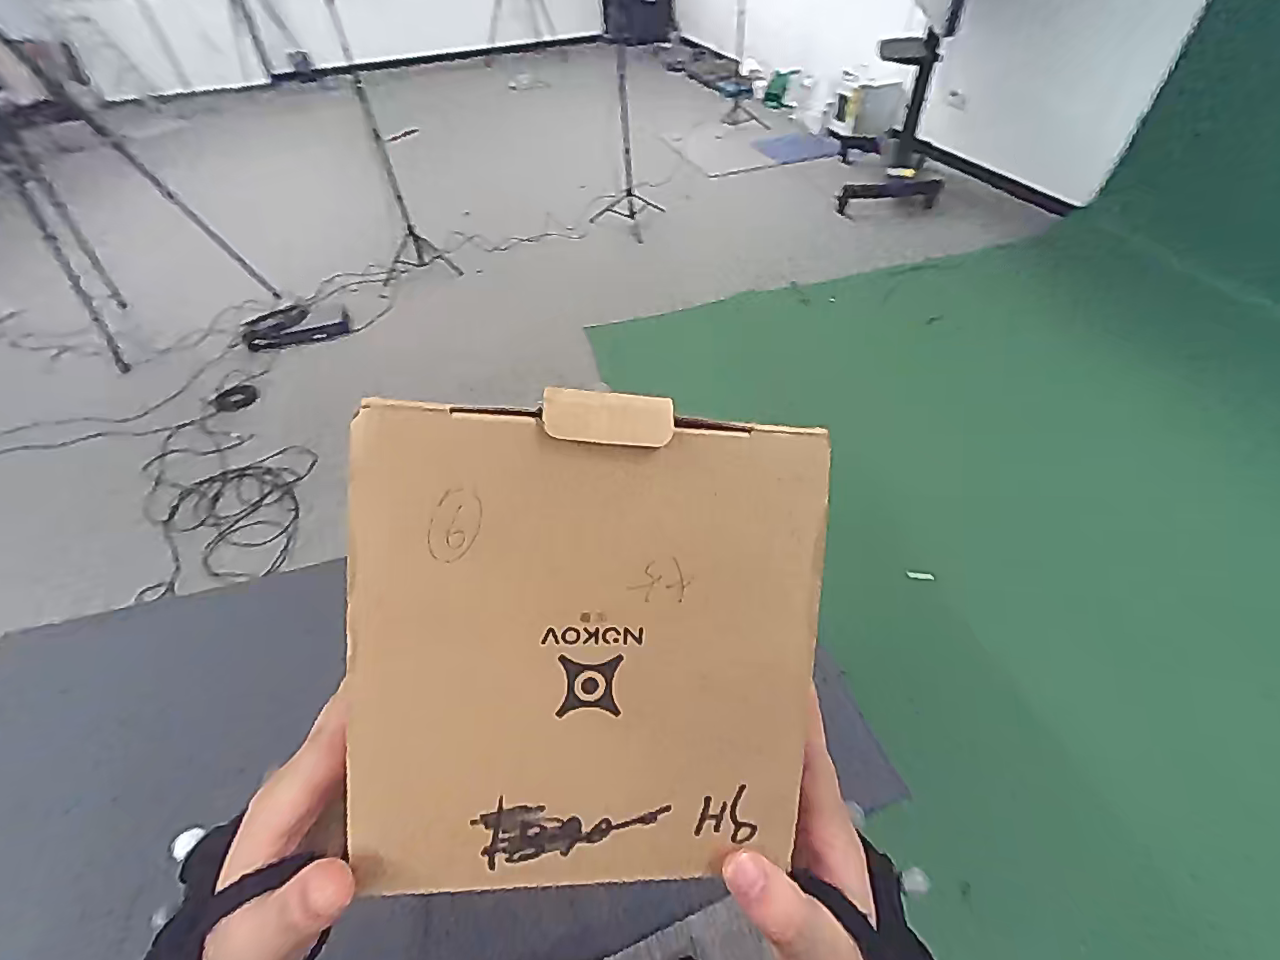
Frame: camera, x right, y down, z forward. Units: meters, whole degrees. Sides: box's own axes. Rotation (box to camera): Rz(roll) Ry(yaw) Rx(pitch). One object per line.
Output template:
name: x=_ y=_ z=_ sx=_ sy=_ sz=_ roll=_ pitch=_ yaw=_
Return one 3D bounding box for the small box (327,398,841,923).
small box: x=-0.027 y=0.058 z=0.262 sx=0.168 sy=0.179 sz=0.176 roll=4 pitch=6 yaw=-8
